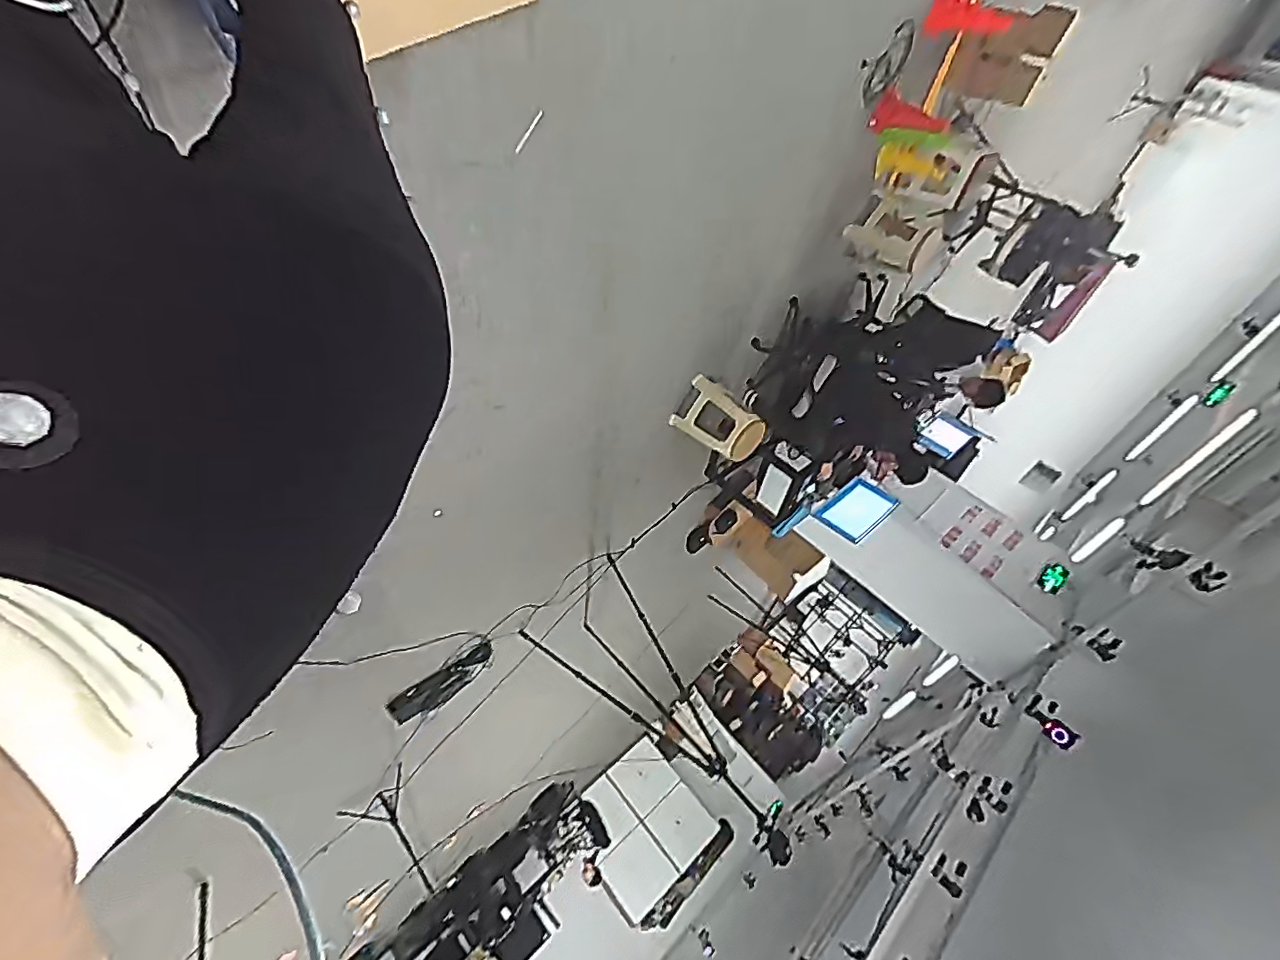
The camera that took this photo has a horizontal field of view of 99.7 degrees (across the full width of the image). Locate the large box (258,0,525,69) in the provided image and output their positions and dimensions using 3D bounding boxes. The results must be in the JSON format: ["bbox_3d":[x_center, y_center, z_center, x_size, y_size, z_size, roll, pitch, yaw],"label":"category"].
[{"bbox_3d":[-0.464,-0.962,0.898,0.408,0.320,0.320,-38,152,-19],"label":"large box"}]
